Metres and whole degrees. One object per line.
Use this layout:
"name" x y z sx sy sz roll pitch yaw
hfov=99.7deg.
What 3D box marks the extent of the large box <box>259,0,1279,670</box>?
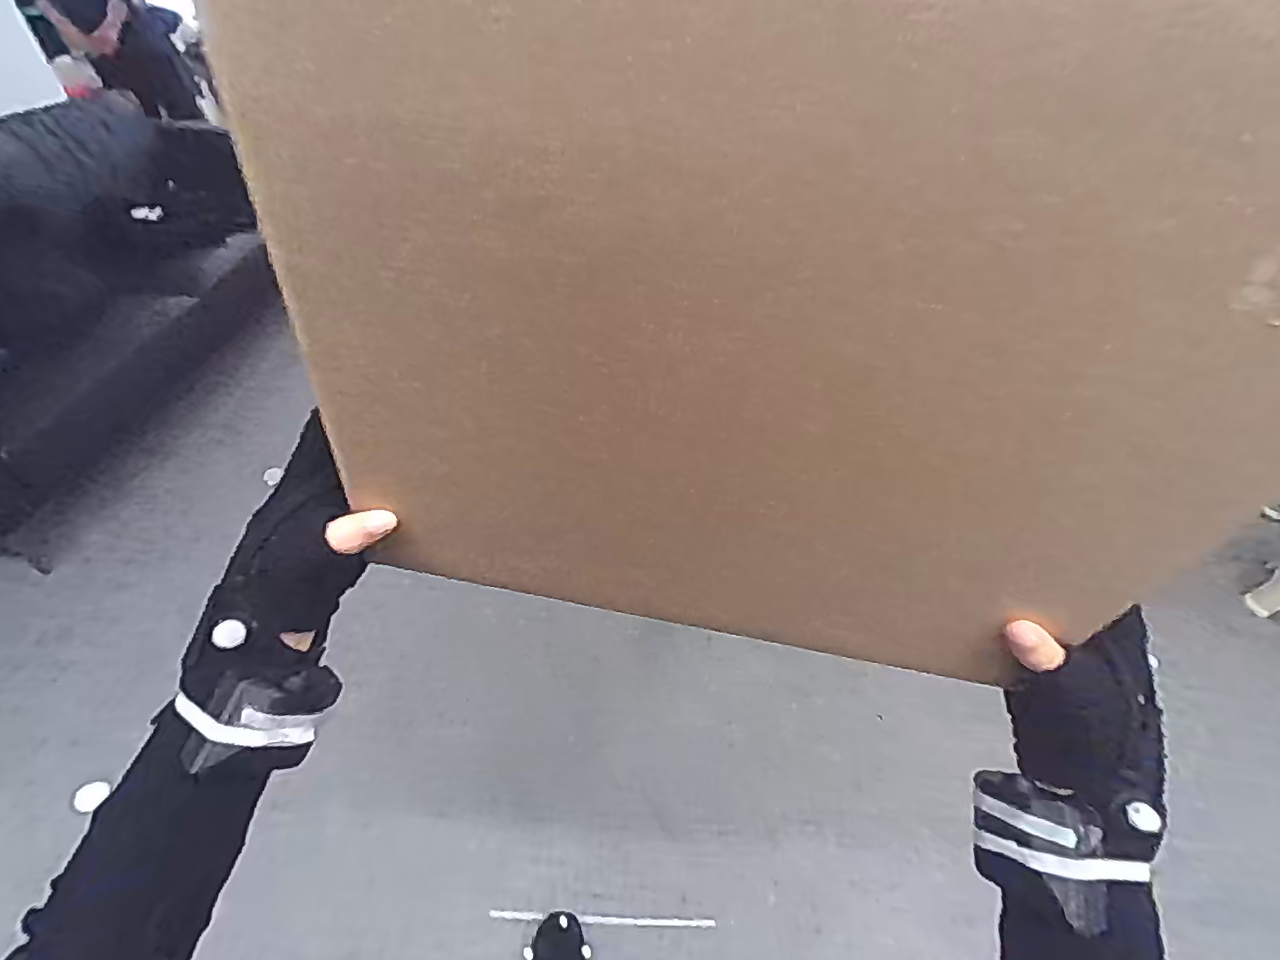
"large box" 0.077 -0.122 0.344 0.408 0.320 0.320 12 42 -1
